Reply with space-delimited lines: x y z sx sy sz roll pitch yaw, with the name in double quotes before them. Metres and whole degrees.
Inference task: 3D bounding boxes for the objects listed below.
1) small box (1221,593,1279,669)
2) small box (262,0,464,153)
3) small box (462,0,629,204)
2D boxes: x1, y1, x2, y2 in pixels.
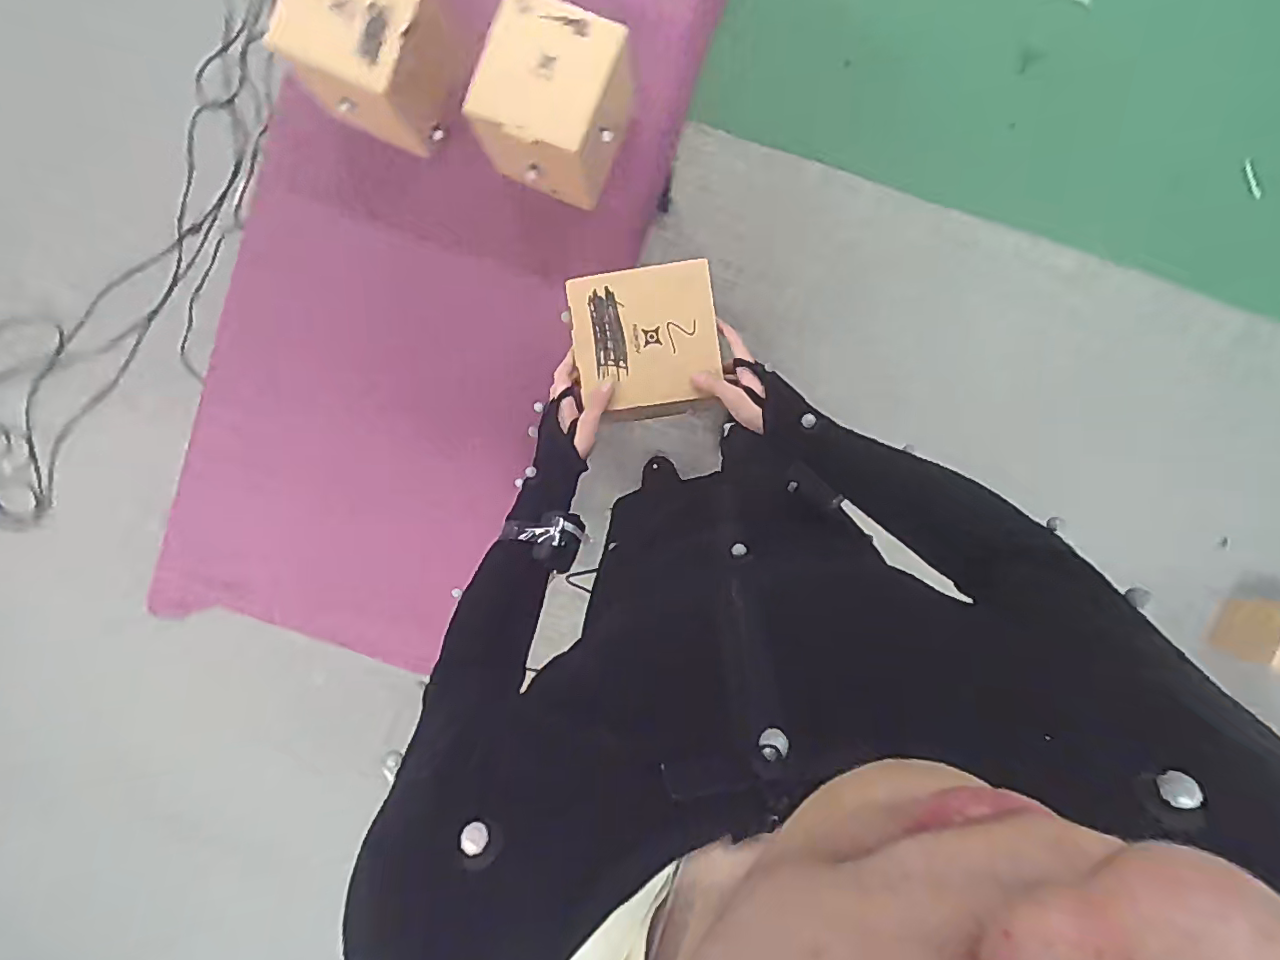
"small box" 1.802 0.438 1.508 0.168 0.176 0.179 19 93 0
"small box" -0.382 -0.614 0.780 0.179 0.176 0.168 24 94 0
"small box" -0.122 -0.535 0.777 0.168 0.176 0.179 23 95 1
